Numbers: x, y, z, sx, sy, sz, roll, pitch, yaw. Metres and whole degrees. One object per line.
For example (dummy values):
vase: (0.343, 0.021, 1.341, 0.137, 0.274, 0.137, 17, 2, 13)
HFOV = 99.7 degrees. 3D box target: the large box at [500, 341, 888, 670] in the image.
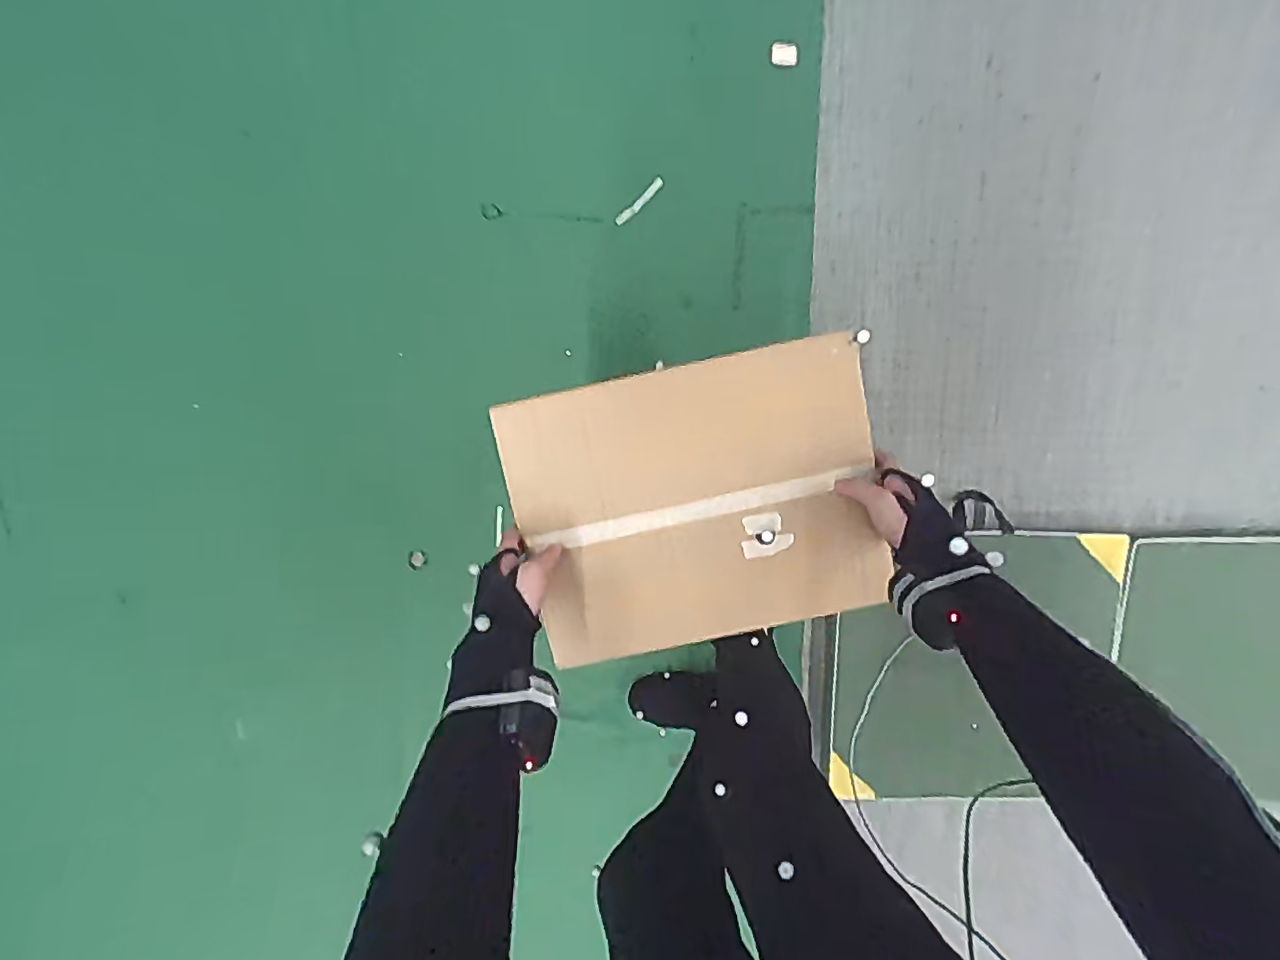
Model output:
large box: (0.064, 0.017, 0.766, 0.408, 0.320, 0.320, -12, 99, 1)
